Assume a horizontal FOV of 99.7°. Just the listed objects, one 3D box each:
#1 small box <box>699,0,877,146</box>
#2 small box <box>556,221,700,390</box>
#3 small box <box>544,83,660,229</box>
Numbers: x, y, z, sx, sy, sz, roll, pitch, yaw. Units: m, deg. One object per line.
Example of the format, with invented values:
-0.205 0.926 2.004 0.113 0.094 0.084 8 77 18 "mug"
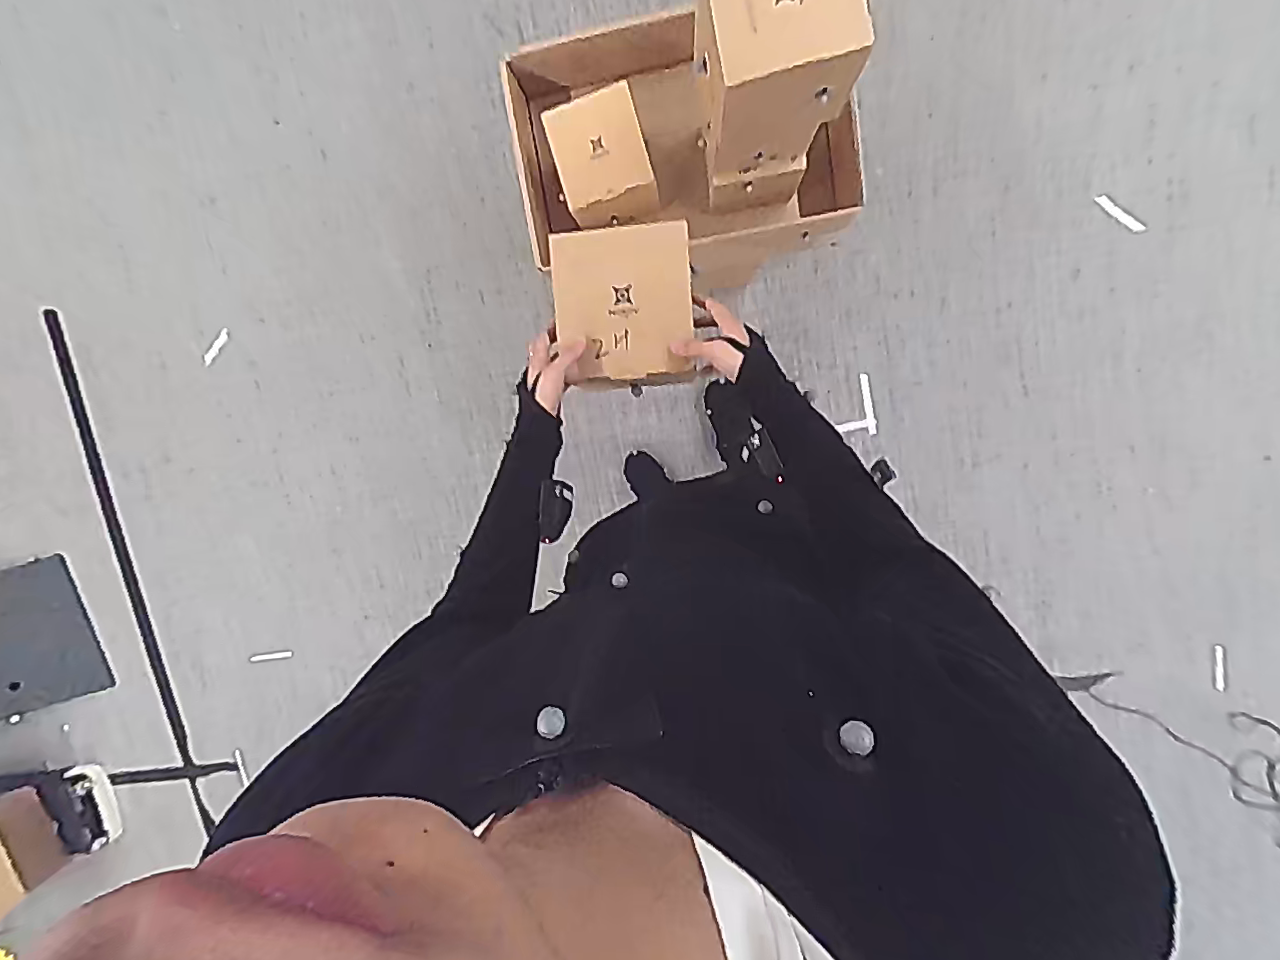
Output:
0.176 -0.567 0.692 0.179 0.176 0.168 -11 96 6 "small box"
-0.010 -0.216 0.713 0.168 0.176 0.179 -3 96 5 "small box"
-0.065 -0.604 1.043 0.168 0.176 0.179 -17 97 8 "small box"
